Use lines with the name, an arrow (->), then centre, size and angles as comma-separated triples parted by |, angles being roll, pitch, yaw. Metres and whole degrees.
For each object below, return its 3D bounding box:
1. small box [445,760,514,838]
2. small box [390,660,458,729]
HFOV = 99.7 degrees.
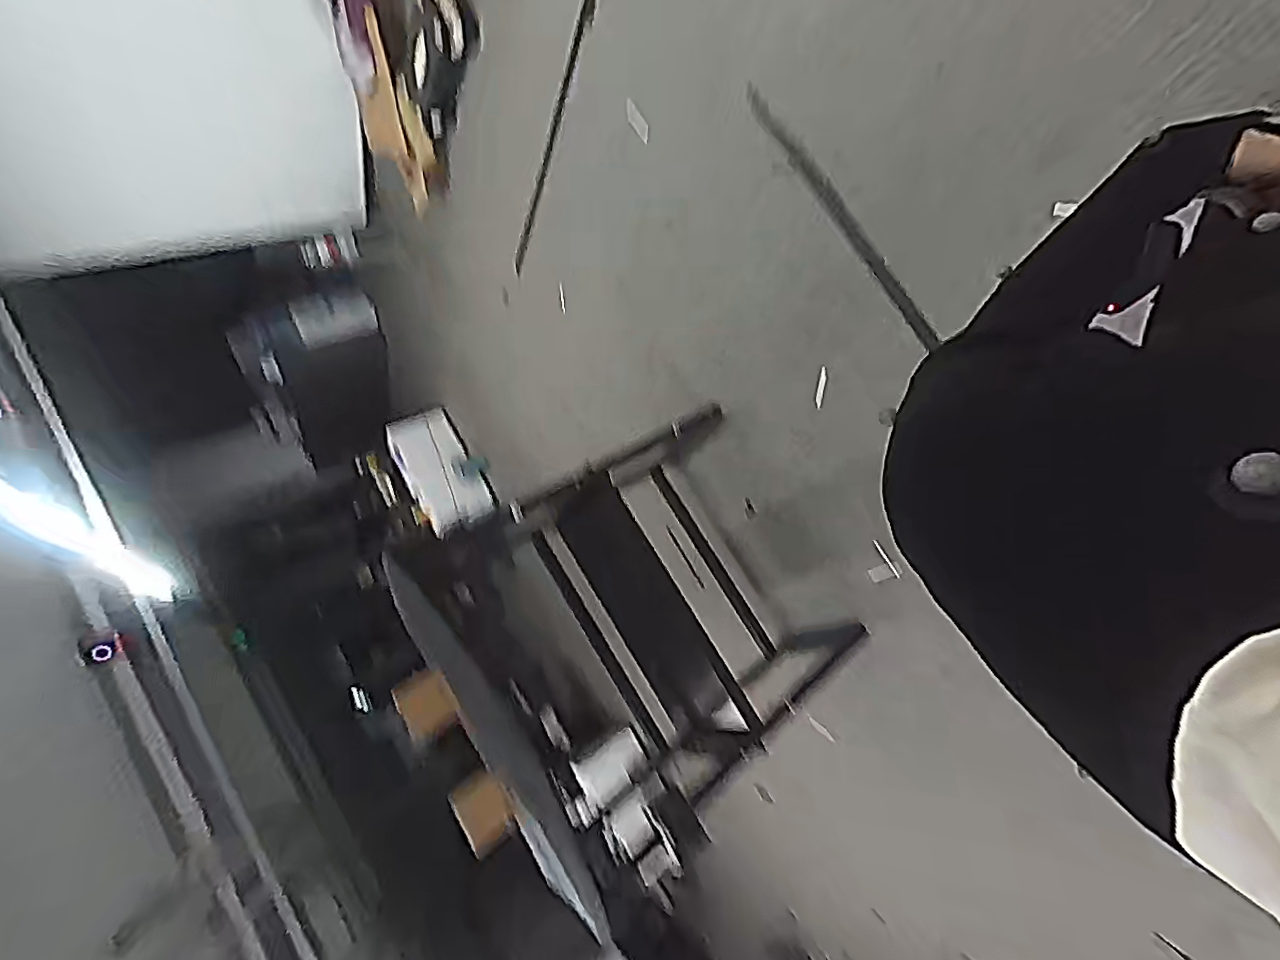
small box -> -0.558, 1.104, 1.886 | 0.168, 0.176, 0.179 | 56, 149, 10
small box -> -0.778, 0.764, 1.943 | 0.179, 0.176, 0.168 | 58, 149, 7
